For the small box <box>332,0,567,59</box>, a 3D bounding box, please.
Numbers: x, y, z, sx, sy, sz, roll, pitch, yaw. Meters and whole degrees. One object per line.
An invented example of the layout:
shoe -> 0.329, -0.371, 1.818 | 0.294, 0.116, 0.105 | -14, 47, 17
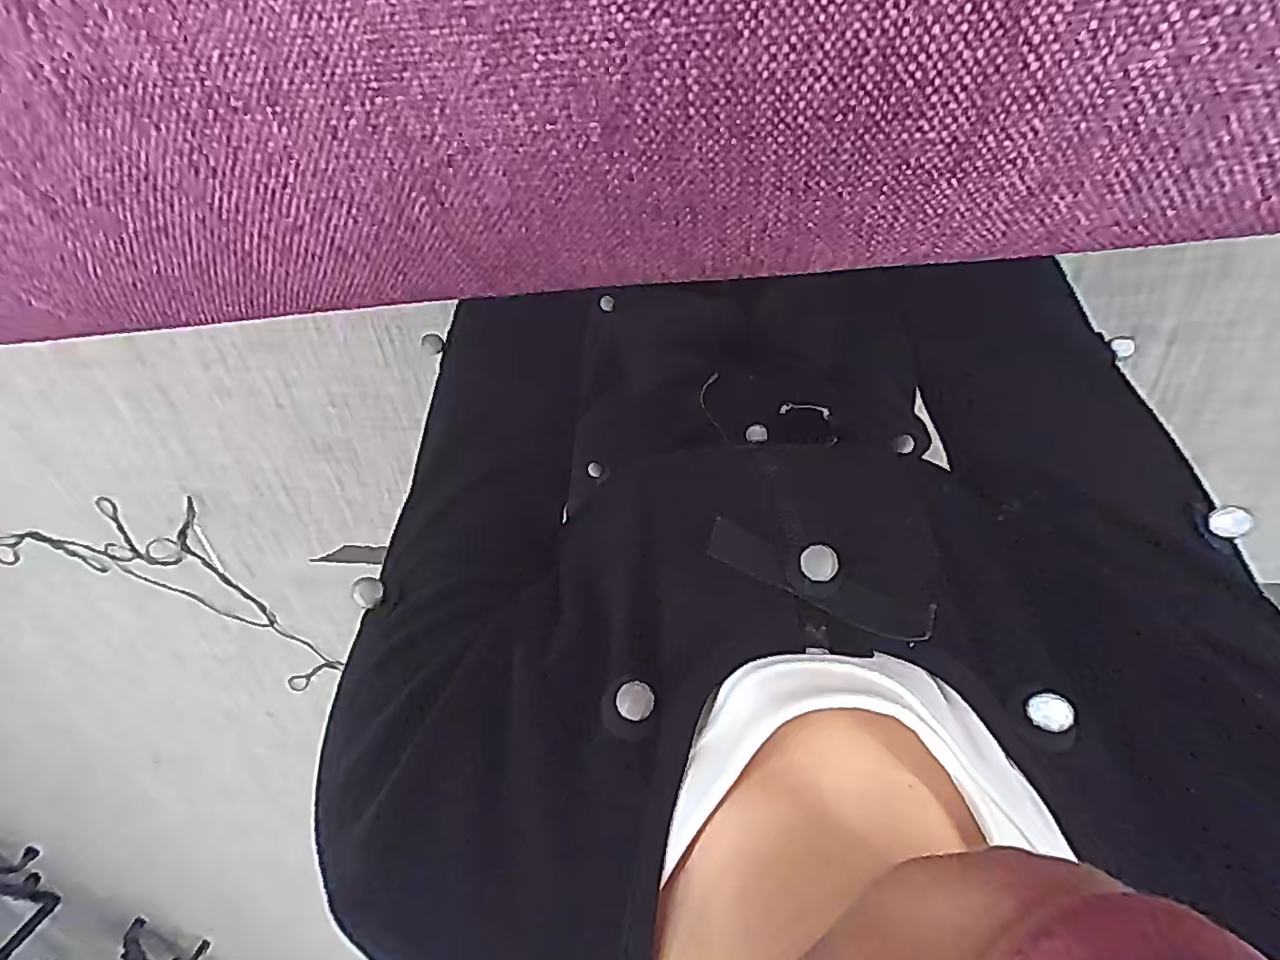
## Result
small box -> -0.174, -0.501, 0.486 | 0.179, 0.176, 0.168 | -1, 121, 11
